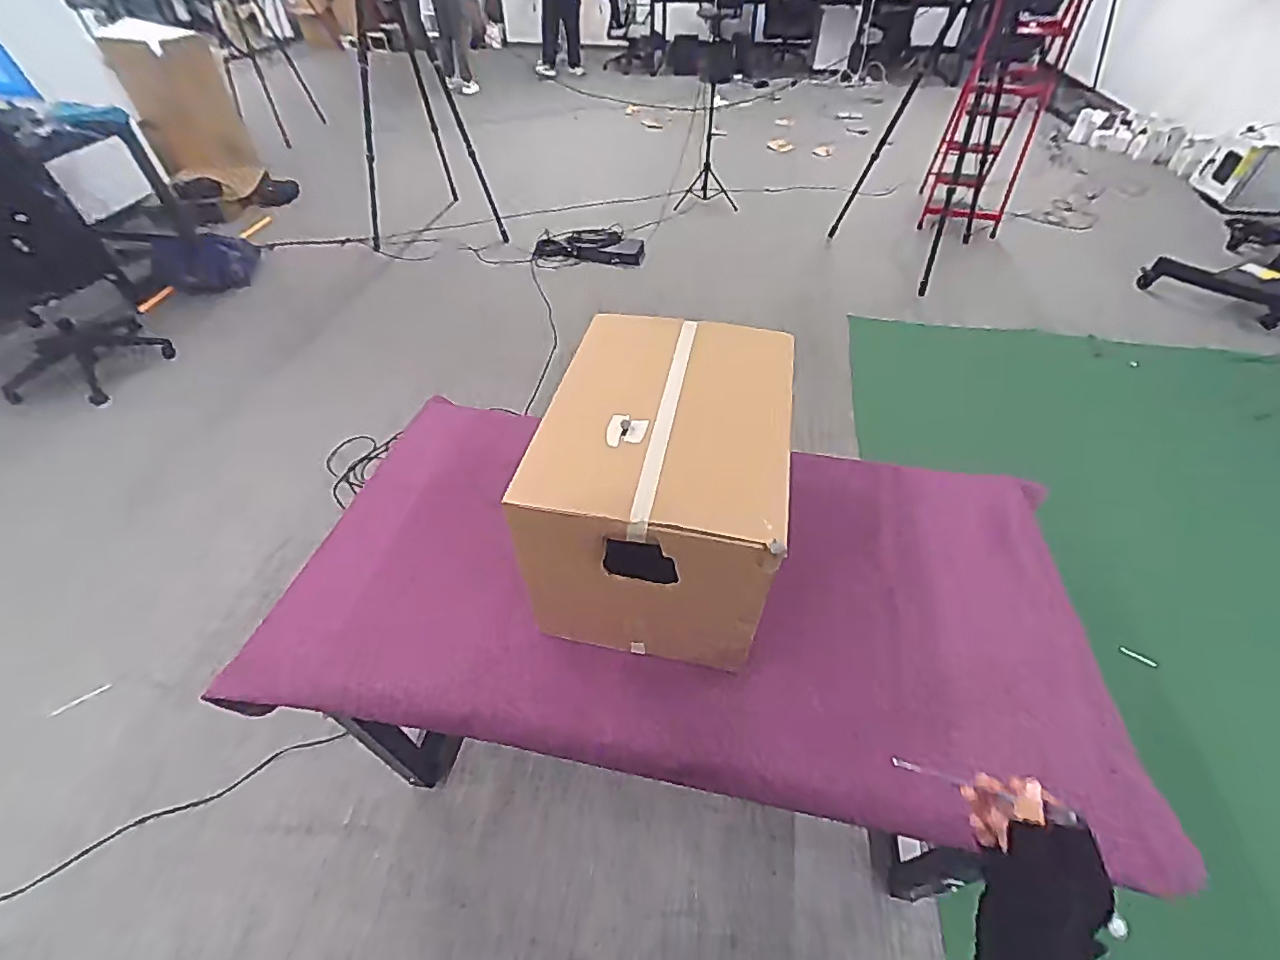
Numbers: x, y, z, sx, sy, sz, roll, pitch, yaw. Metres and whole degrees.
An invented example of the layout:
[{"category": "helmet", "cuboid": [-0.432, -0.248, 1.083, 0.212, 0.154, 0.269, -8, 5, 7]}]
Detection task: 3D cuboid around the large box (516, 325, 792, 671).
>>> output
[{"category": "large box", "cuboid": [0.042, 0.017, 0.834, 0.320, 0.320, 0.408, 9, 49, 8]}]
